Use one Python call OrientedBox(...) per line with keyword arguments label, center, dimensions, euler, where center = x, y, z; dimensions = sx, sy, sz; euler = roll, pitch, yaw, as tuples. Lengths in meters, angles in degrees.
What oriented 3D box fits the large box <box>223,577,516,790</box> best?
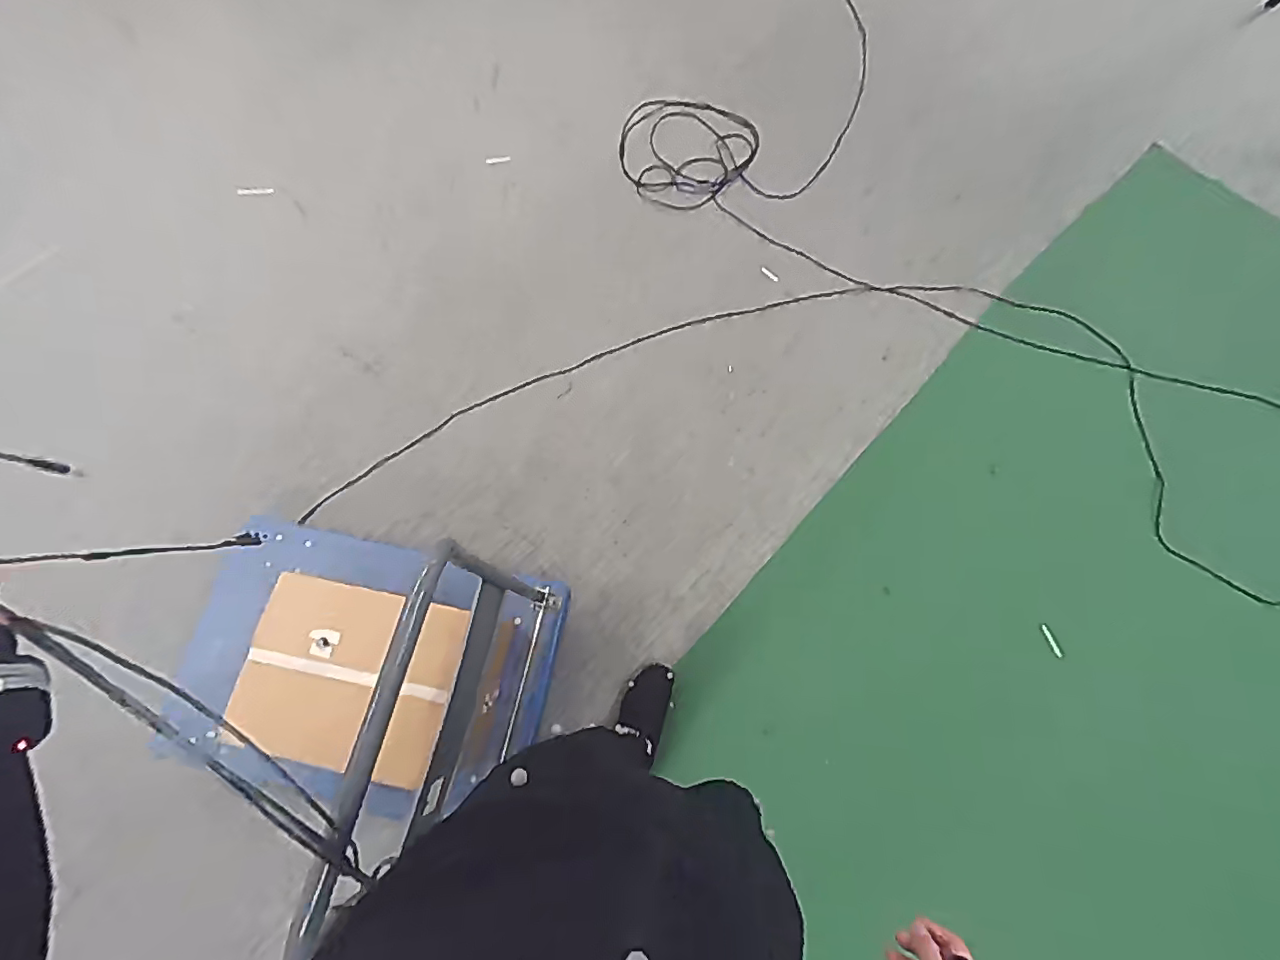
OrientedBox(label="large box", center=(-0.521, 0.407, 1.134), dimensions=(0.408, 0.320, 0.320), euler=(10, 72, 6))
